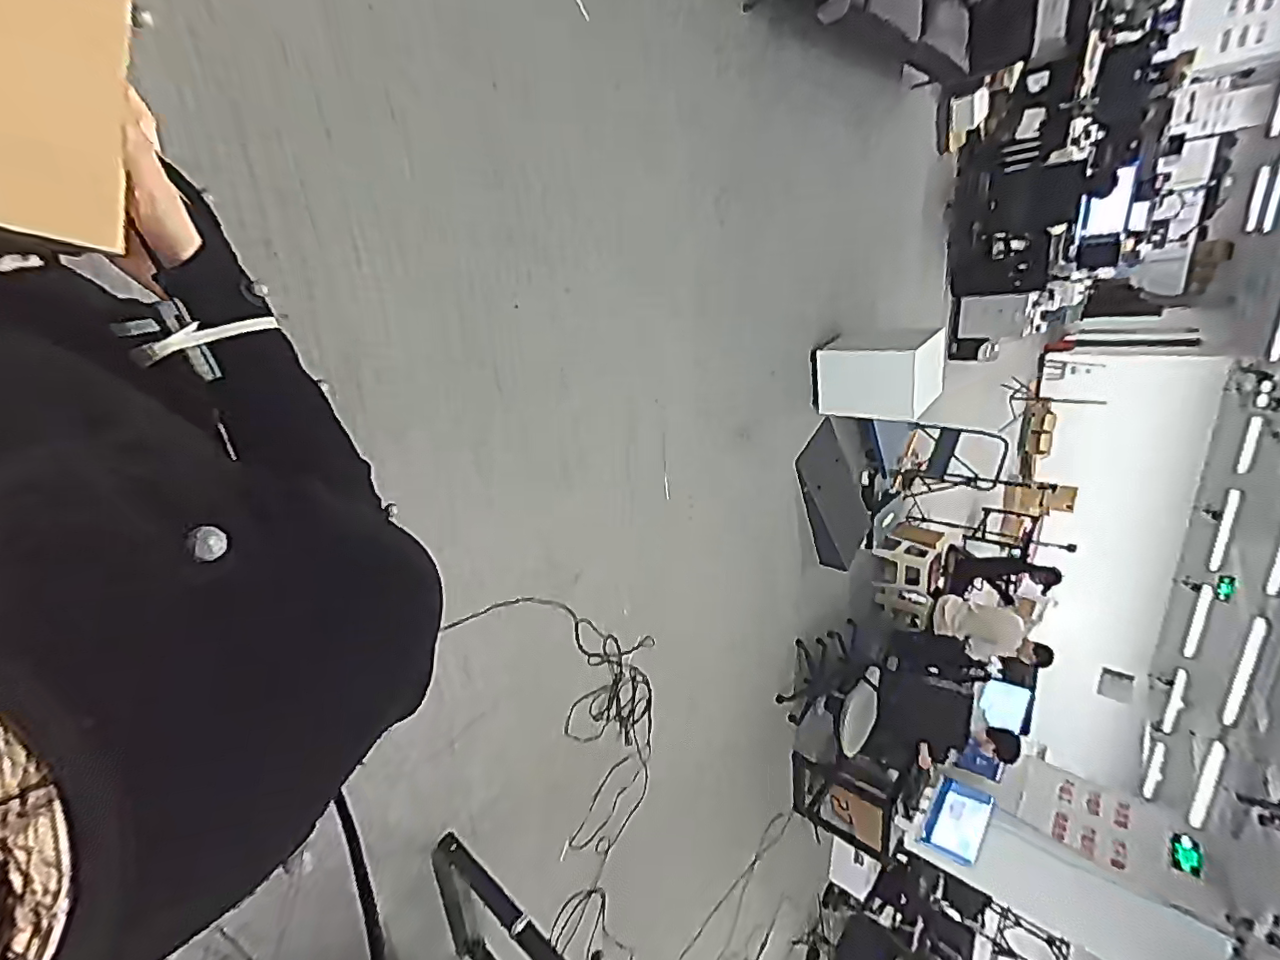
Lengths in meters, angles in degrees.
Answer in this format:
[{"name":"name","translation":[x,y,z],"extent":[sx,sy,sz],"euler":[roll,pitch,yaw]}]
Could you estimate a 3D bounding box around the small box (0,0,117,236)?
[{"name":"small box","translation":[-0.391,-0.237,0.272],"extent":[0.168,0.176,0.179],"euler":[-1,104,-52]}]
